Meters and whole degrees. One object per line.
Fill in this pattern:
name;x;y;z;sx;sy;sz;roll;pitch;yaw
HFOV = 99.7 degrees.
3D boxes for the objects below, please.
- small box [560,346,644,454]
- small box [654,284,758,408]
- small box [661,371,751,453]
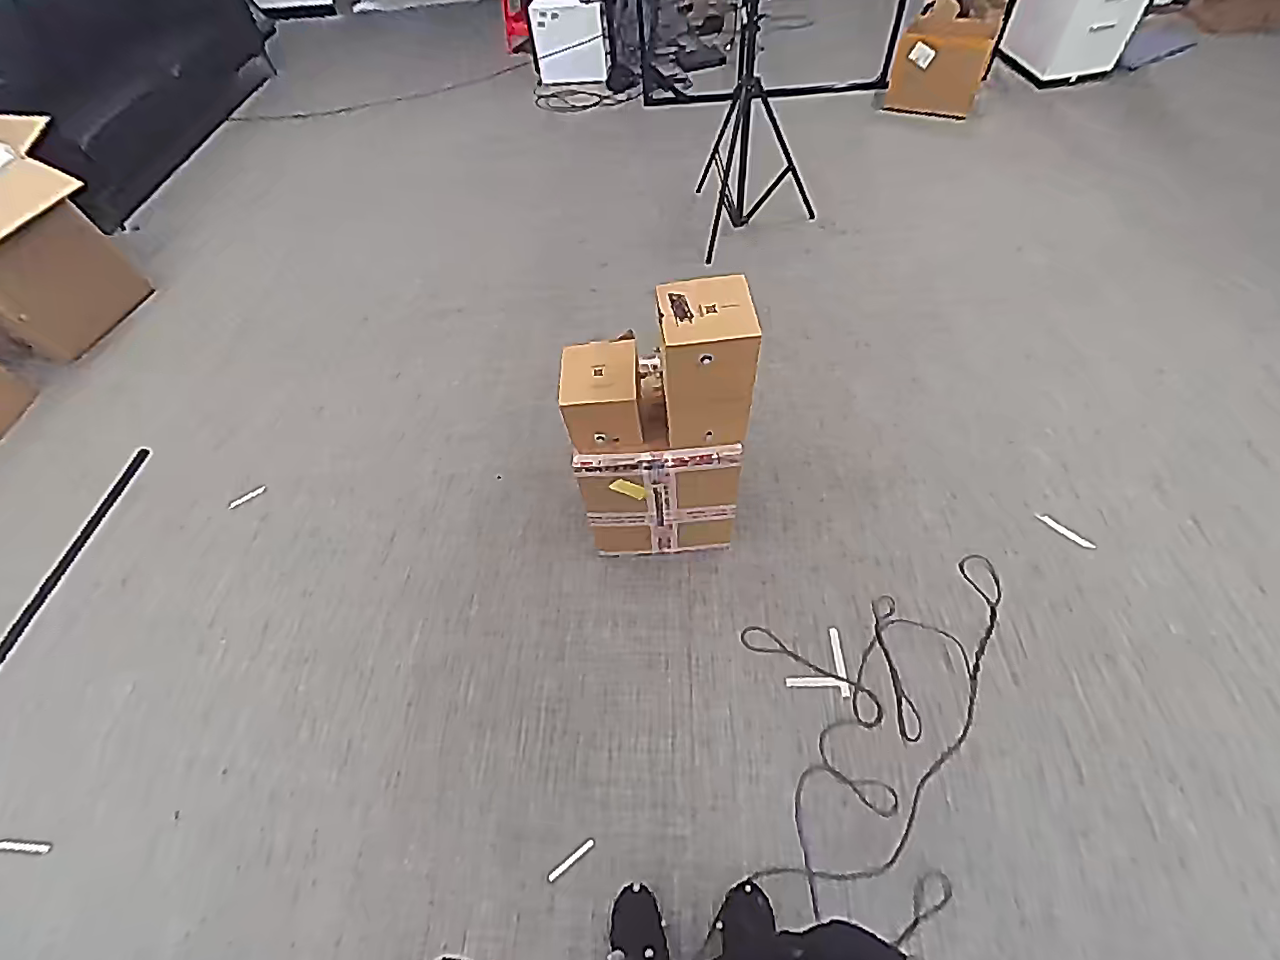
small box;-0.081;-0.179;1.240;0.168;0.176;0.179;-5;60;5
small box;0.127;-0.259;1.075;0.179;0.176;0.168;-7;59;0
small box;0.140;-0.178;1.219;0.179;0.176;0.168;-7;59;0
